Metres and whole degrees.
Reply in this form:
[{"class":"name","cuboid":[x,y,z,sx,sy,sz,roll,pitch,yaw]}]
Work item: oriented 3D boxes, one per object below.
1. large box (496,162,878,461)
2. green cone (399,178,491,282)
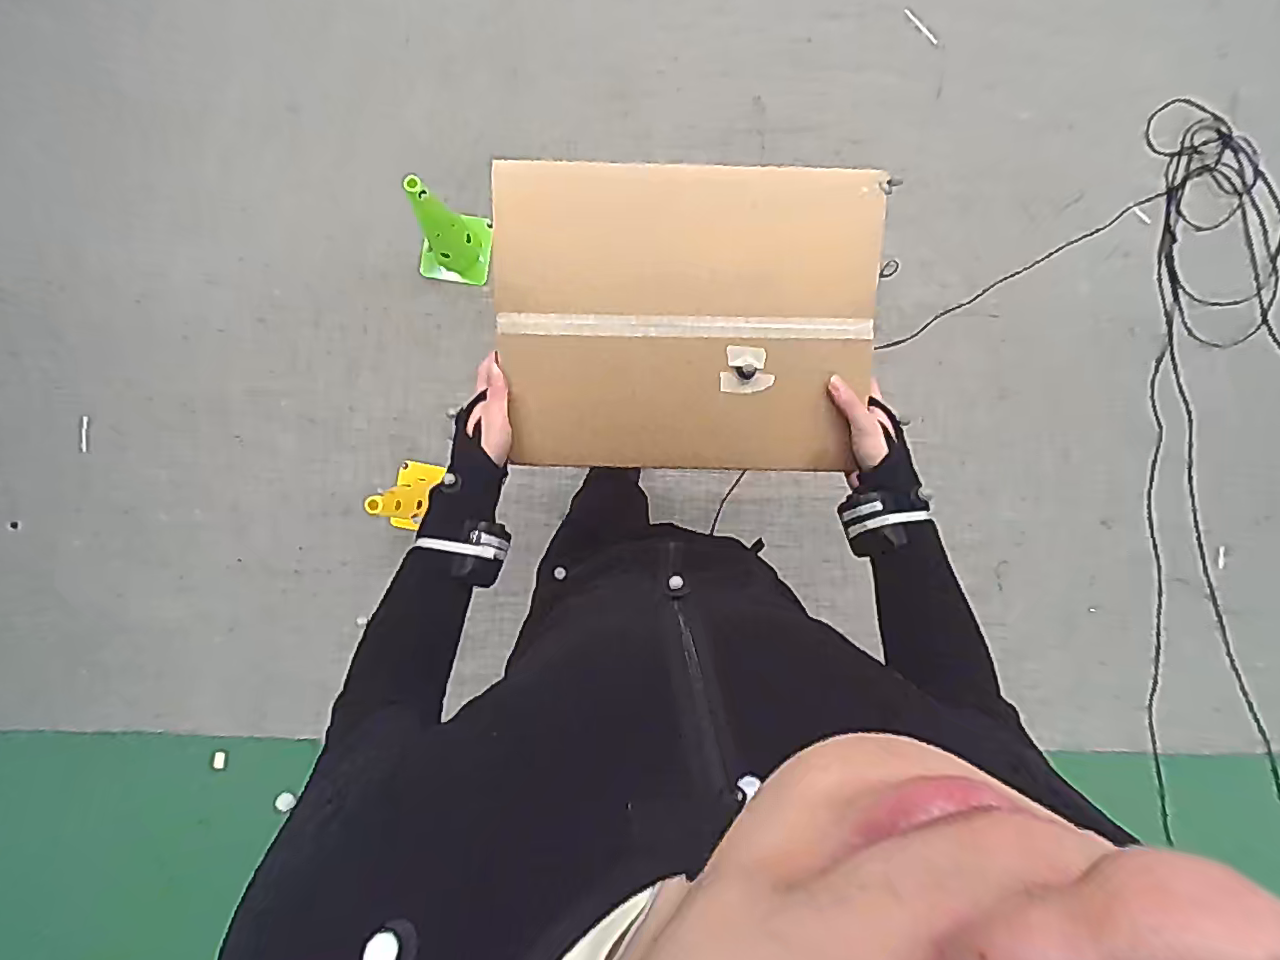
[{"class":"large box","cuboid":[0.046,-0.206,0.733,0.408,0.320,0.320,0,103,-1]},{"class":"green cone","cuboid":[-0.546,-0.691,1.430,0.200,0.368,0.202,8,91,-1]}]
